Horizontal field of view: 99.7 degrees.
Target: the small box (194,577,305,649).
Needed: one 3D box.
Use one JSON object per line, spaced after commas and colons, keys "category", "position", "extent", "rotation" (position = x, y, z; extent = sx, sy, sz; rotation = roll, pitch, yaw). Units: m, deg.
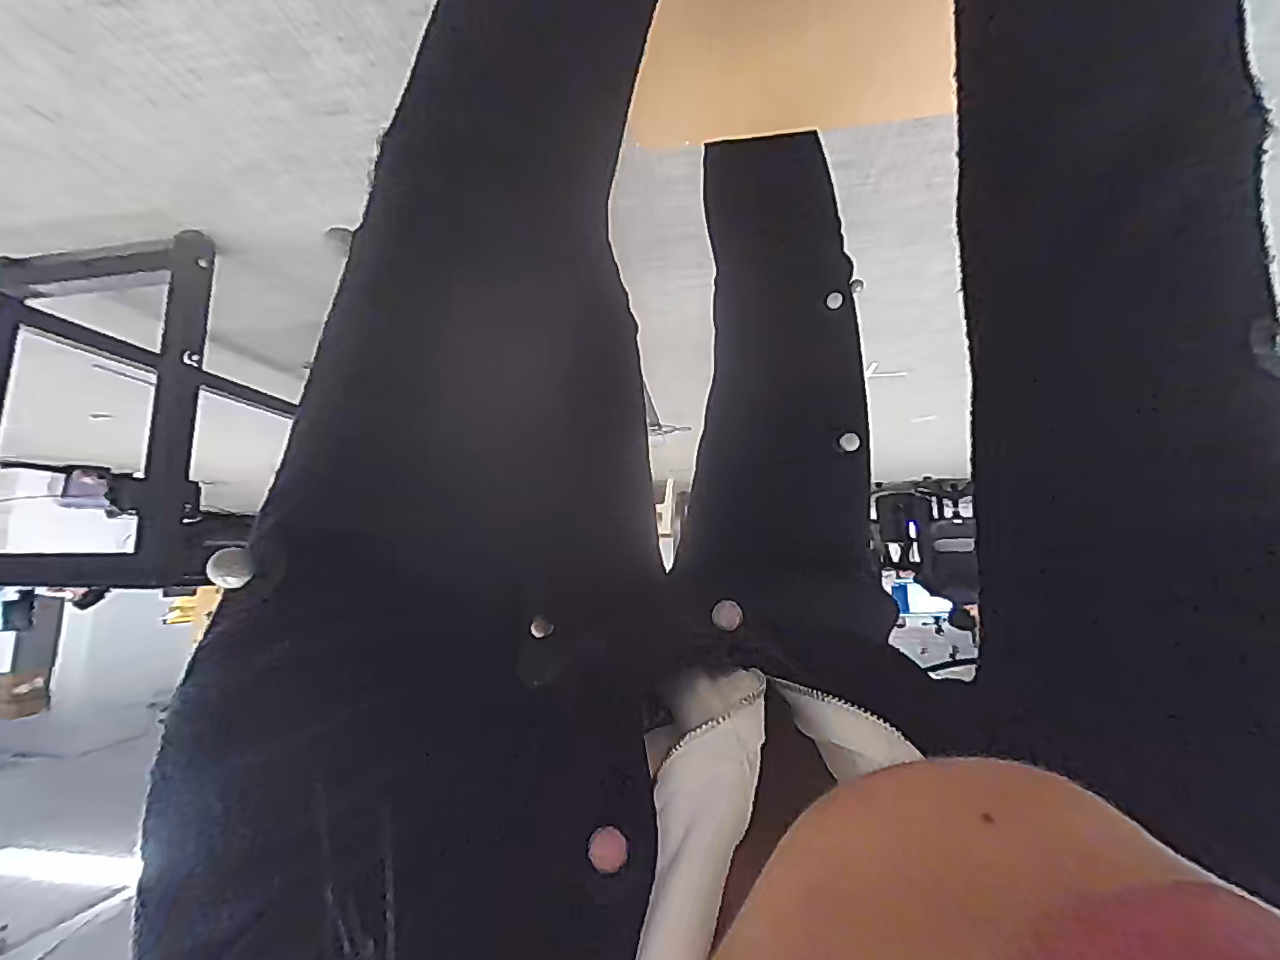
{"category": "small box", "position": [-1.025, 0.347, 1.431], "extent": [0.168, 0.176, 0.179], "rotation": [0, 172, 9]}
